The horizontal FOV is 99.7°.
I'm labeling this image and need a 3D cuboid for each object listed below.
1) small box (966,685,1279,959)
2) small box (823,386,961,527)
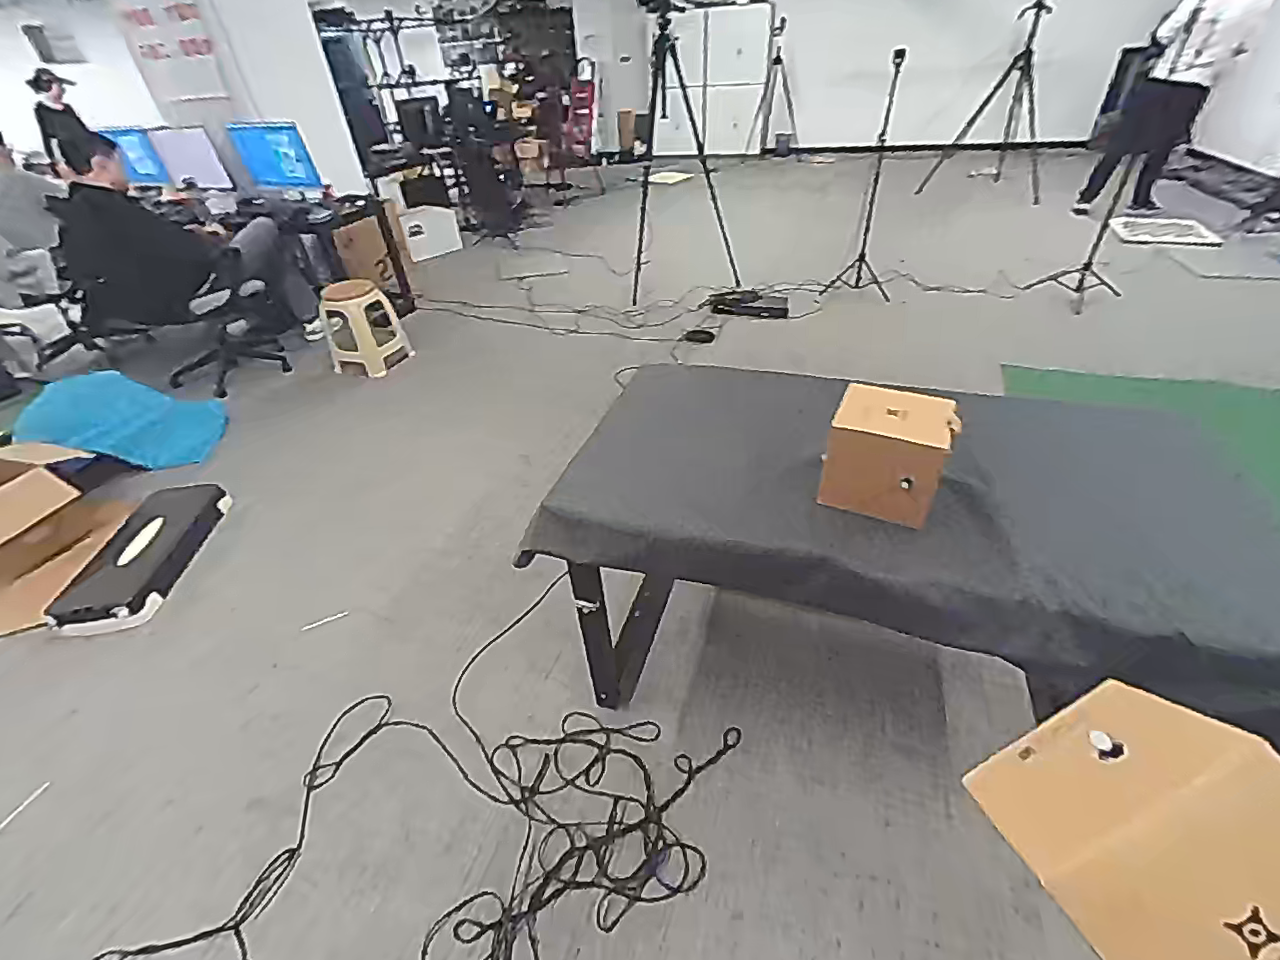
[{"bbox_3d":[0.392,0.278,0.407,0.168,0.176,0.179,-39,76,6],"label":"small box"},{"bbox_3d":[0.435,-0.040,0.942,0.179,0.176,0.168,15,40,24],"label":"small box"}]
